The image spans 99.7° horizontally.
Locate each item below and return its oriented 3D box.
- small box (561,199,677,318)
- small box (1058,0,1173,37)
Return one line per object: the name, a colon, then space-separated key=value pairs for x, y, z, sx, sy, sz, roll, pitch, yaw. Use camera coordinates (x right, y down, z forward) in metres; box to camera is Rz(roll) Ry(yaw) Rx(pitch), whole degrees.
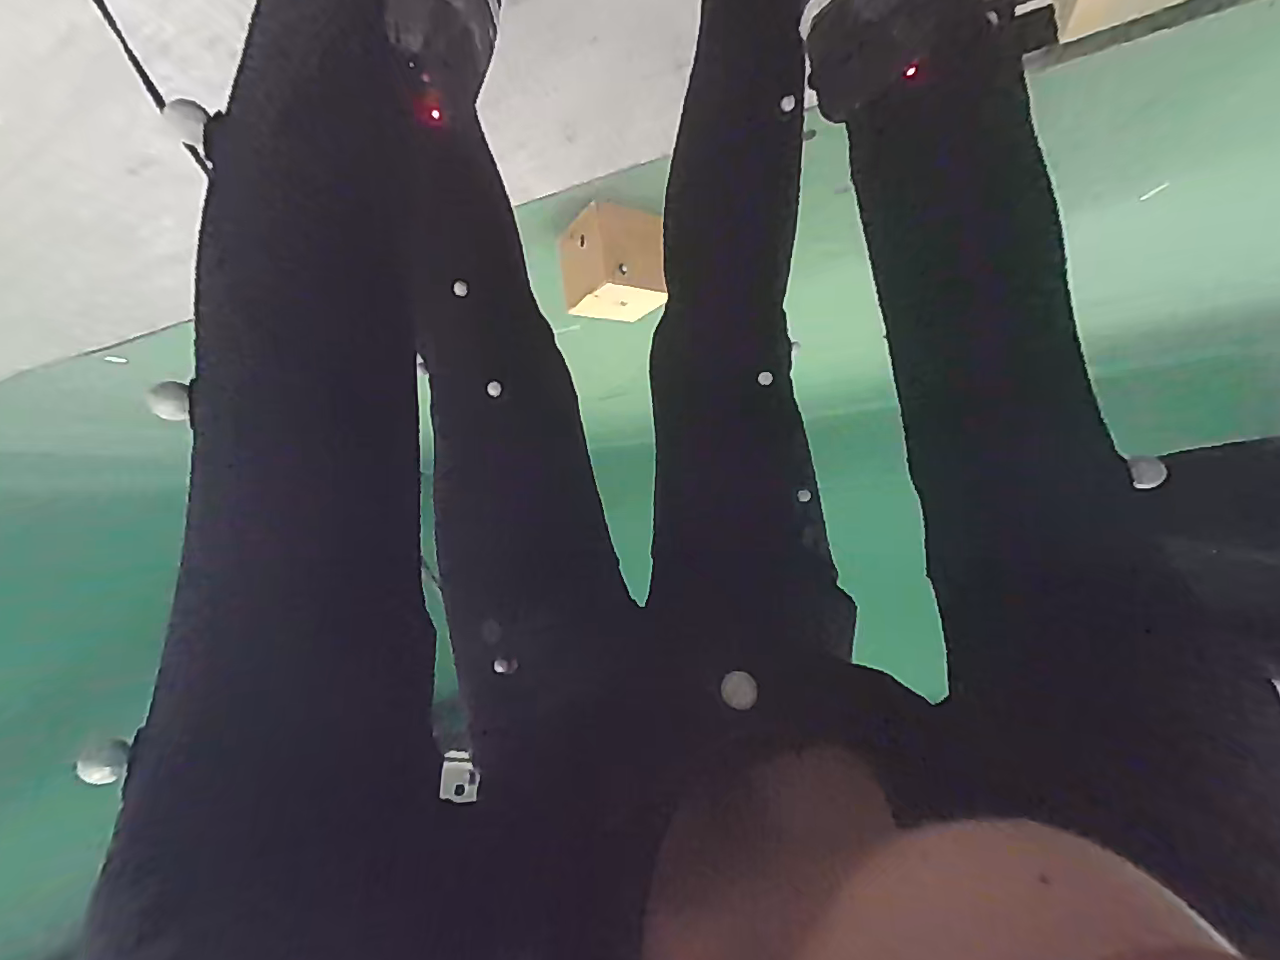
small box: x=-0.047 y=-0.452 z=1.121 sx=0.179 sy=0.176 sz=0.168 roll=-4 pitch=177 yaw=-35
small box: x=0.463 y=-0.539 z=0.445 sx=0.179 sy=0.176 sz=0.168 roll=-8 pitch=178 yaw=24
